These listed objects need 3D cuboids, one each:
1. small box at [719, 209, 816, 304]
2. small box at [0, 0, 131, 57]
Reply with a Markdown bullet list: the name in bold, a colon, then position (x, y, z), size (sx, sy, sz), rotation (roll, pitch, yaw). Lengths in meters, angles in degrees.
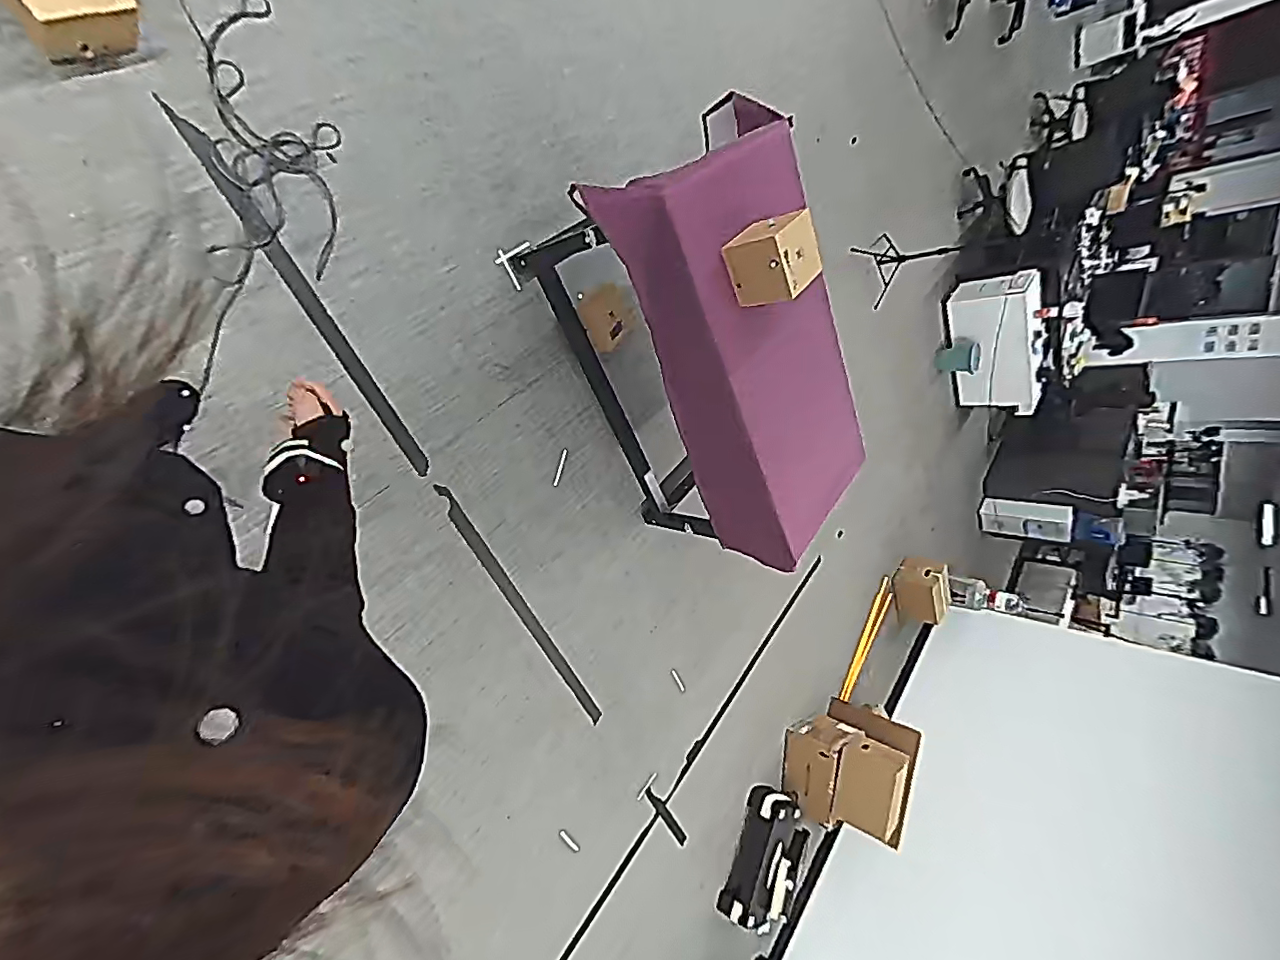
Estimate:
- **small box**: position (0.337, -0.586, 1.430), size (0.179, 0.176, 0.168), rotation (-47, 125, -30)
- **small box**: position (-1.104, -0.935, 1.001), size (0.168, 0.176, 0.179), rotation (-43, 123, -30)
